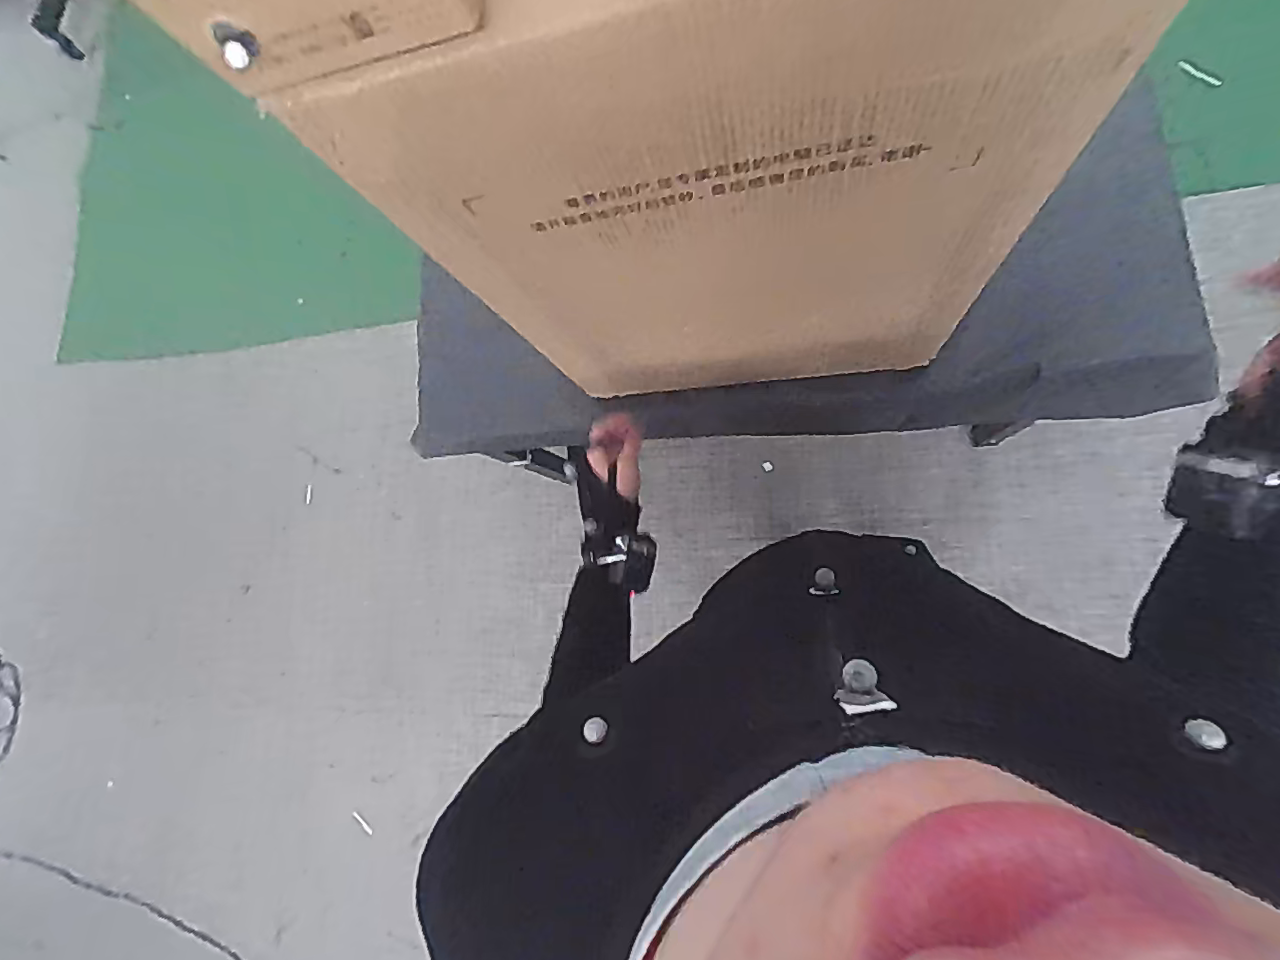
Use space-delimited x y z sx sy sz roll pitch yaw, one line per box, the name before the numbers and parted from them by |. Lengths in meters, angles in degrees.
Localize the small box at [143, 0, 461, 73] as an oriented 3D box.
small box | -0.190 -0.334 0.250 0.168 0.176 0.179 -2 81 15
